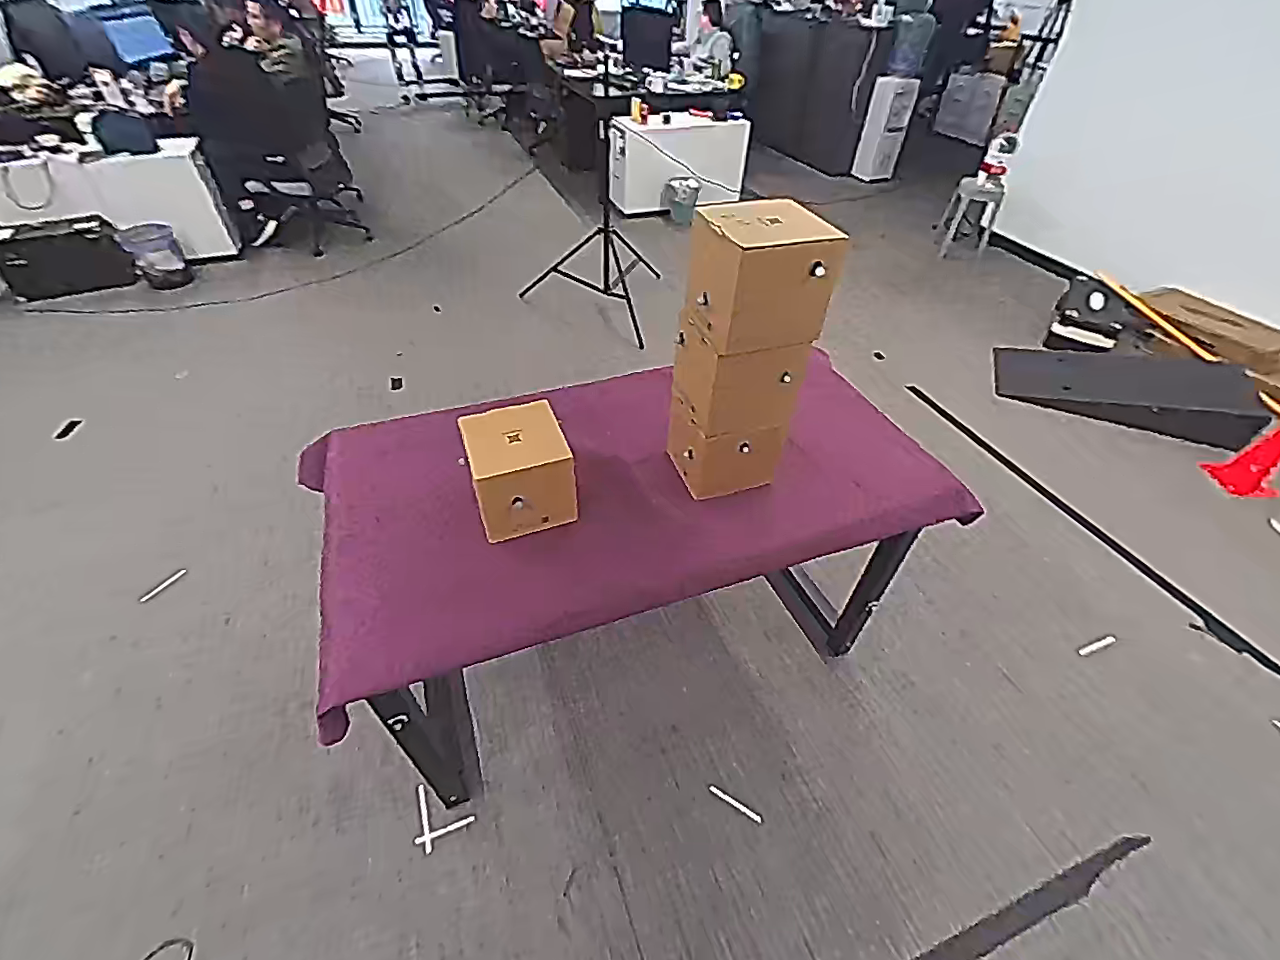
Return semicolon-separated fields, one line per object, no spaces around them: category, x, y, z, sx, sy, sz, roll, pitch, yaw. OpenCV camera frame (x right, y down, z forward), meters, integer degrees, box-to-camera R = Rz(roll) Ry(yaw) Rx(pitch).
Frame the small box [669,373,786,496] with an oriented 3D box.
small box;0.164;-0.089;1.085;0.179;0.176;0.168;-13;47;-15

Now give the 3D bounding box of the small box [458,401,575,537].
small box;-0.223;-0.016;0.996;0.168;0.176;0.179;-15;46;-17

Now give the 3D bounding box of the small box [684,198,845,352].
small box;0.183;-0.324;0.855;0.179;0.176;0.168;-14;46;-15
